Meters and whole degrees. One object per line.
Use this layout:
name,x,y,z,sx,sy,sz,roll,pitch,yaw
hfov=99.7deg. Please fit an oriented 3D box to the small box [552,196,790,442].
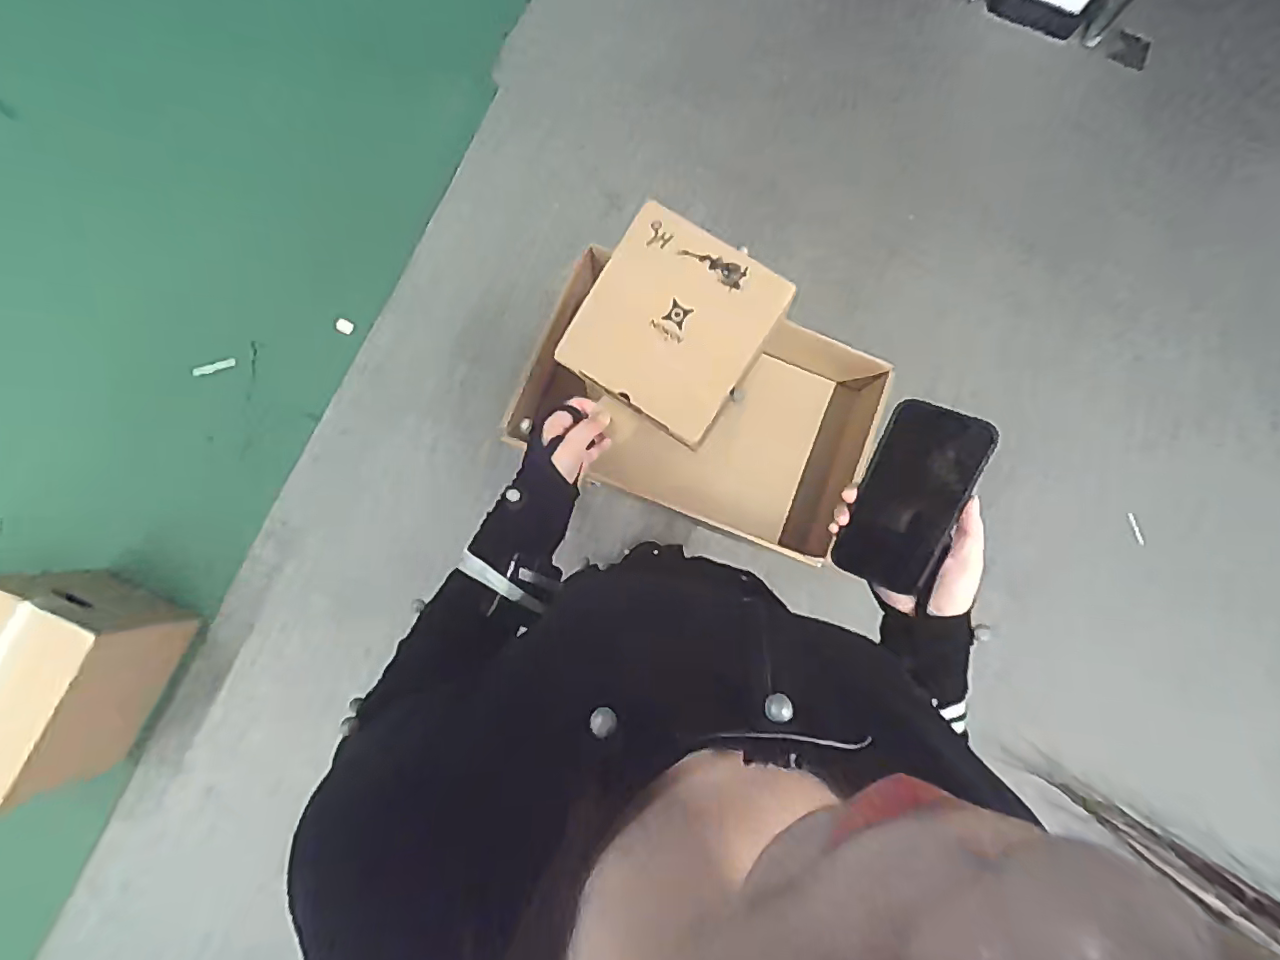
small box,0.038,-0.153,0.582,0.168,0.176,0.179,32,96,5
